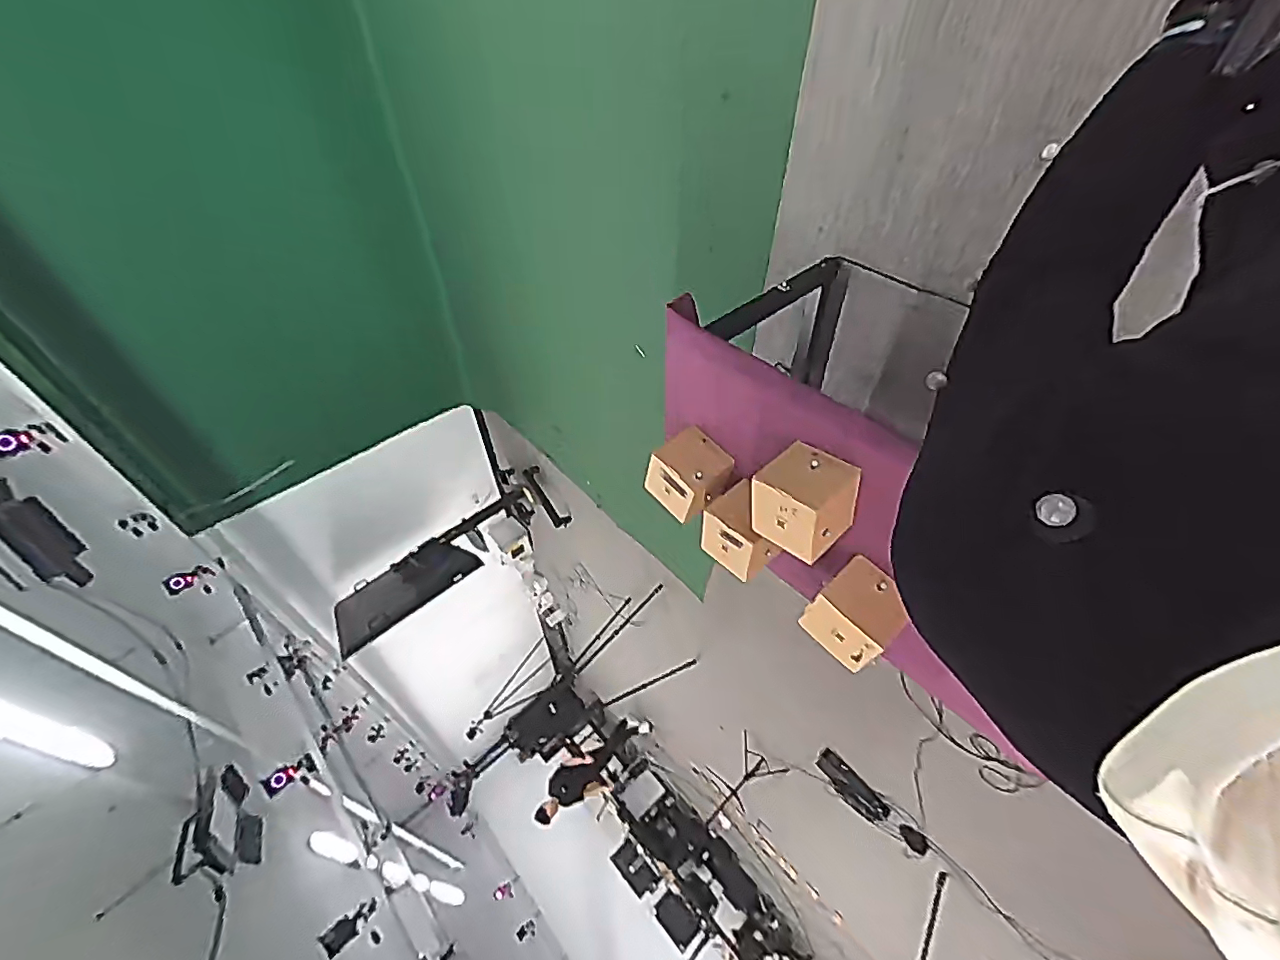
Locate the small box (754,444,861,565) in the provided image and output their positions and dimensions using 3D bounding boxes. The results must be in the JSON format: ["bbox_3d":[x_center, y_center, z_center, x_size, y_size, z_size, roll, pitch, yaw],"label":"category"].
[{"bbox_3d":[0.377,0.051,1.227,0.168,0.176,0.179,32,146,37],"label":"small box"}]

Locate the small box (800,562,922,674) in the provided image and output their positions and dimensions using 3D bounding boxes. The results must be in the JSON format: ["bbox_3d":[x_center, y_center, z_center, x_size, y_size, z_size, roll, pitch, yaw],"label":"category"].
[{"bbox_3d":[0.524,0.320,1.290,0.179,0.176,0.168,44,151,23],"label":"small box"}]
